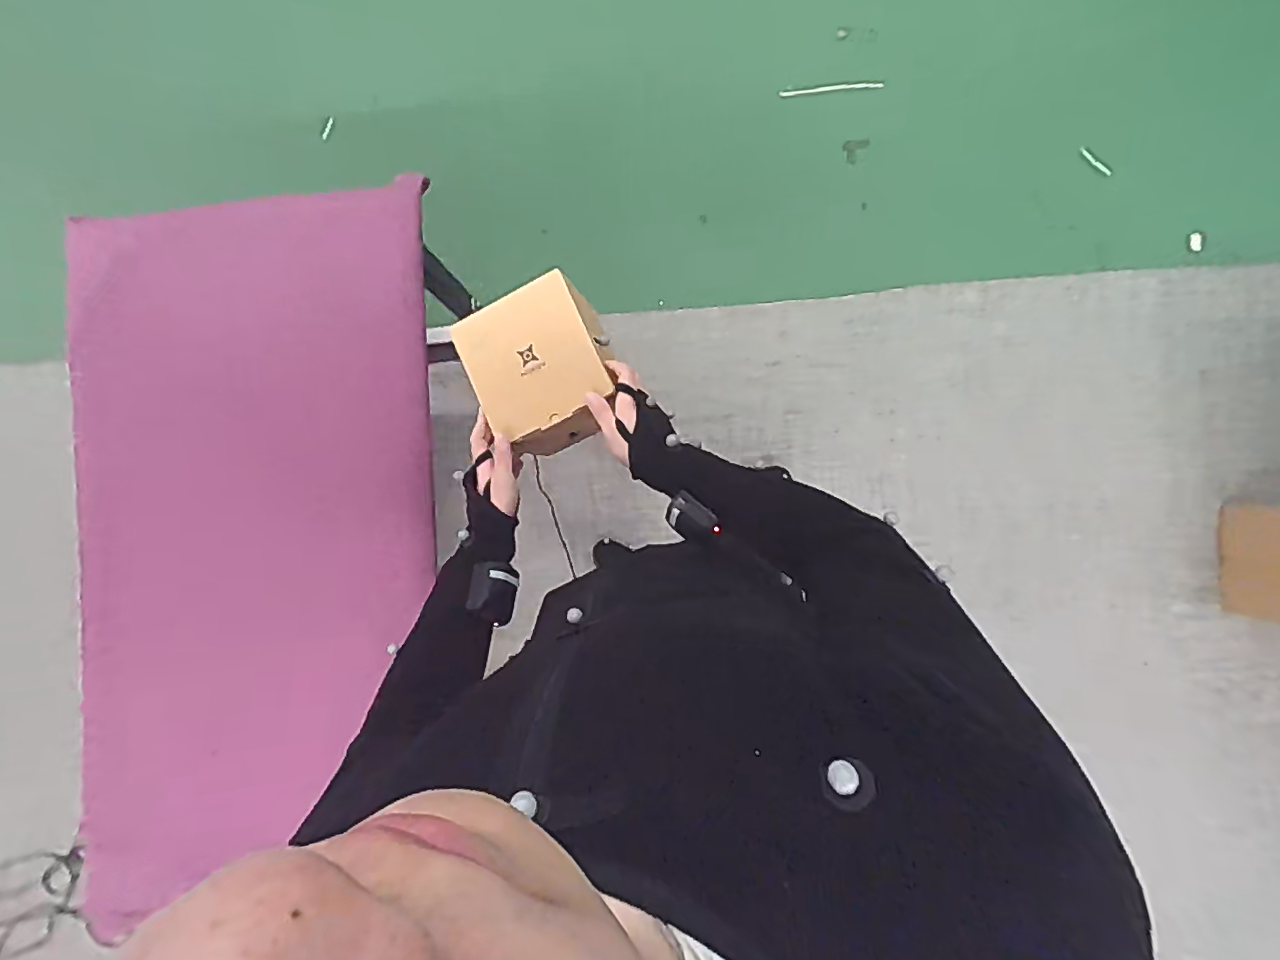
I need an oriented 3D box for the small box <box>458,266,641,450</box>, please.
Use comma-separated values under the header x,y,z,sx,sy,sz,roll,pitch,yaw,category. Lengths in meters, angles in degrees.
x,y,z,sx,sy,sz,roll,pitch,yaw,category
-0.113,-0.152,0.743,0.168,0.176,0.179,-25,87,8,small box
